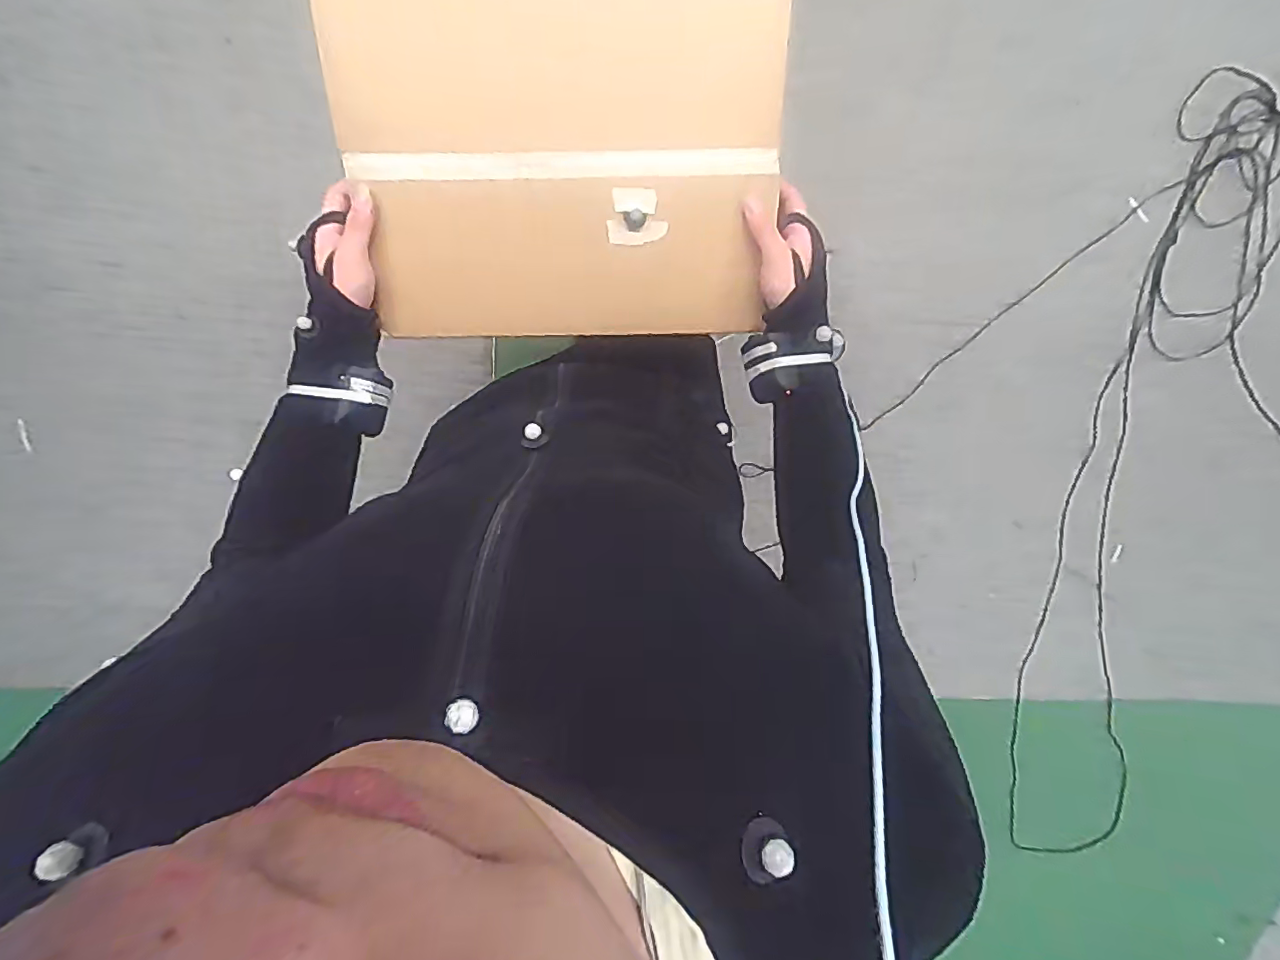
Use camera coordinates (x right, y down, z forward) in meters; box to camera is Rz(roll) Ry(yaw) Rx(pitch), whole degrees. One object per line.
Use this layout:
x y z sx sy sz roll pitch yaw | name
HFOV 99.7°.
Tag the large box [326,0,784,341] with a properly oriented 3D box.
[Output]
-0.075 -0.355 0.655 0.408 0.320 0.320 -2 114 -2 | large box
